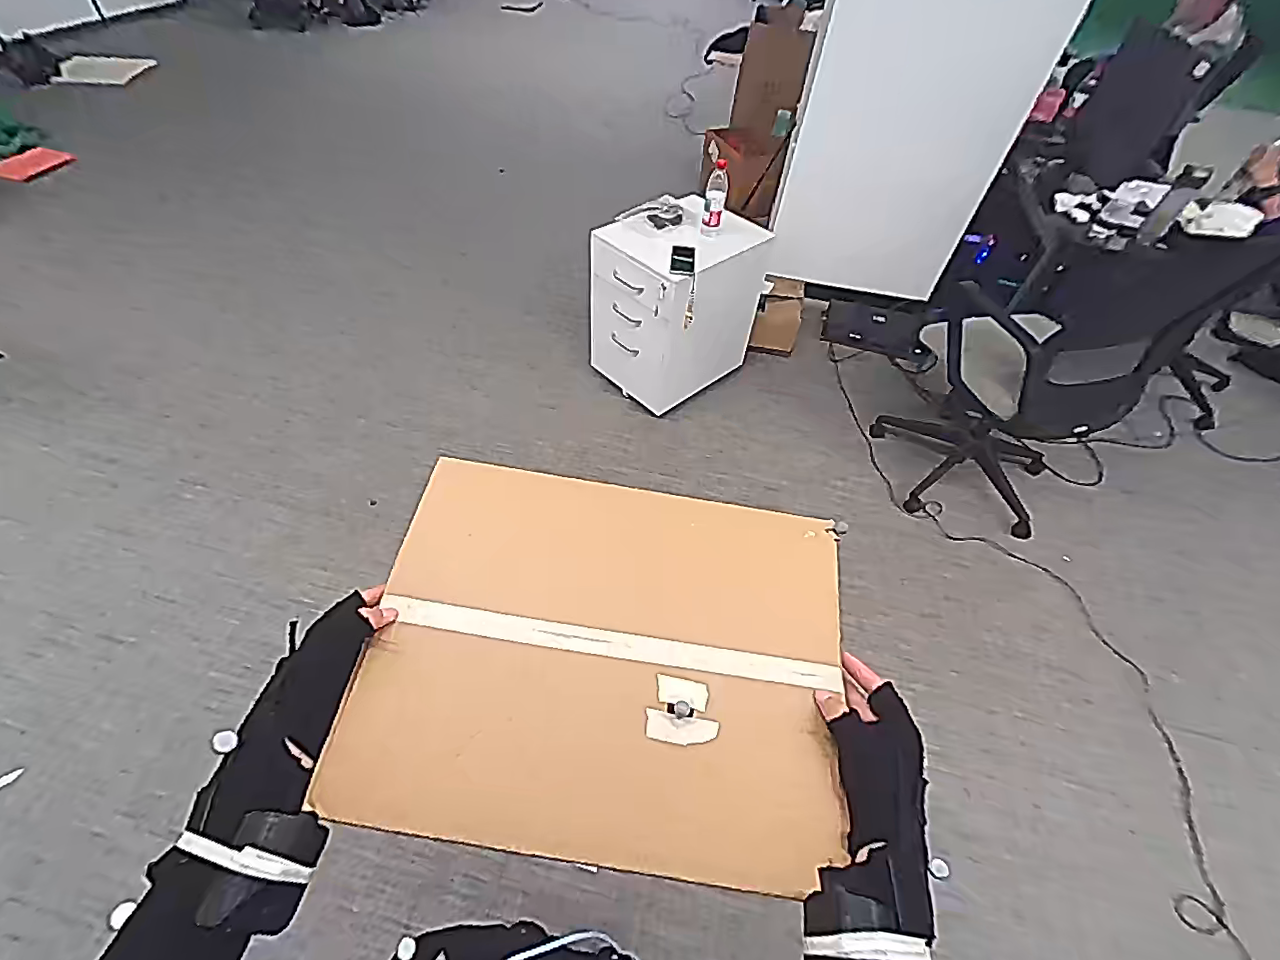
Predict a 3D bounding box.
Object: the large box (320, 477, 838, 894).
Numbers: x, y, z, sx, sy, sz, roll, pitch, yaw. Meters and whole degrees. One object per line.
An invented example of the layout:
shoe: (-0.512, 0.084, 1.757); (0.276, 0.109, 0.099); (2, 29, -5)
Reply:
large box: (-0.042, 0.228, 0.608); (0.408, 0.320, 0.320); (9, 60, 0)
